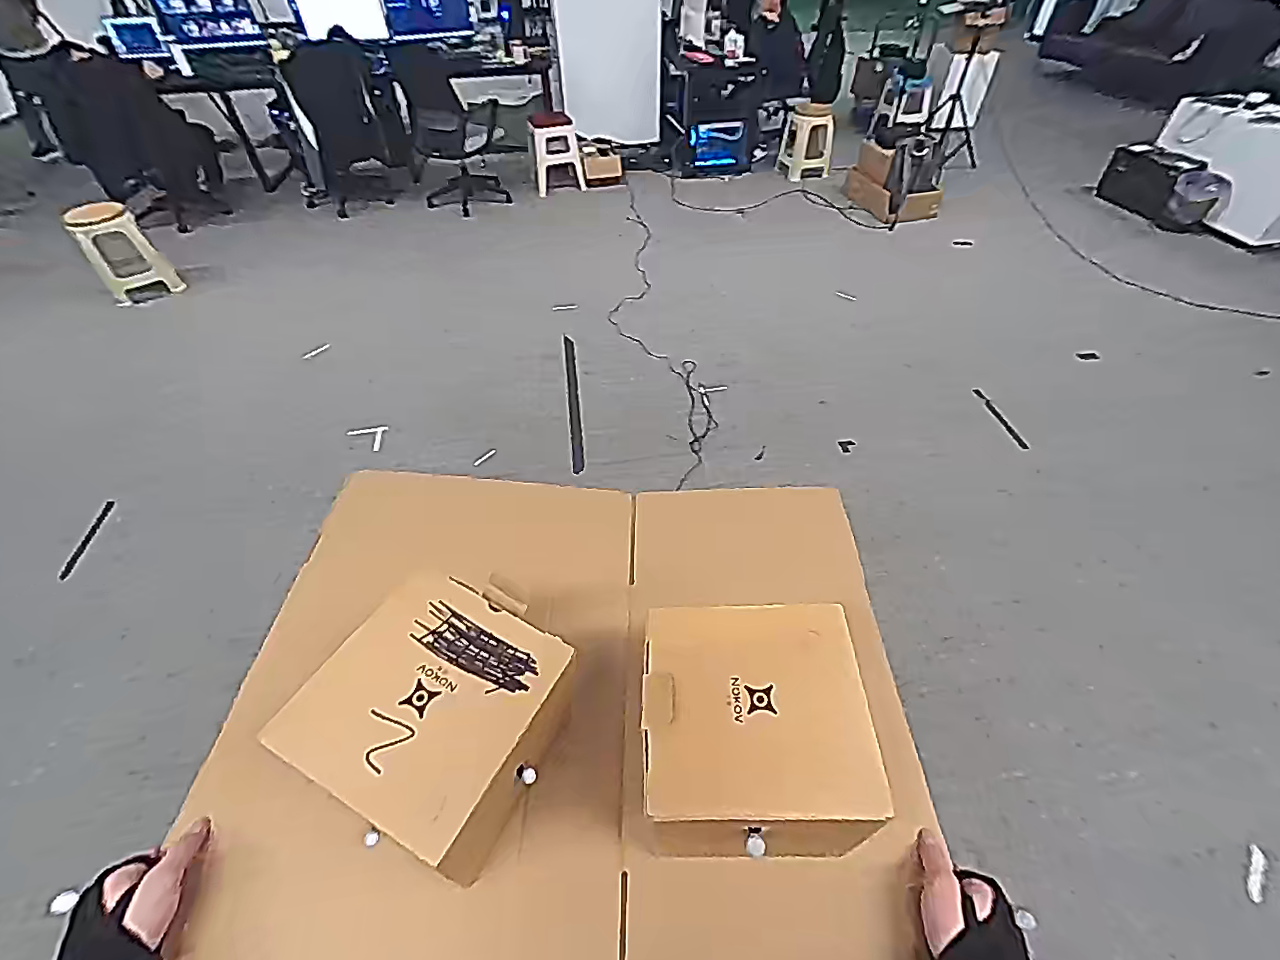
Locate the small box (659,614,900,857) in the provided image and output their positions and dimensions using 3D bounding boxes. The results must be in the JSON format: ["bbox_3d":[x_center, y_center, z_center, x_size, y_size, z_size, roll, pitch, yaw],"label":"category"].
[{"bbox_3d":[0.108,0.238,0.502,0.179,0.176,0.168,-3,48,4],"label":"small box"}]
